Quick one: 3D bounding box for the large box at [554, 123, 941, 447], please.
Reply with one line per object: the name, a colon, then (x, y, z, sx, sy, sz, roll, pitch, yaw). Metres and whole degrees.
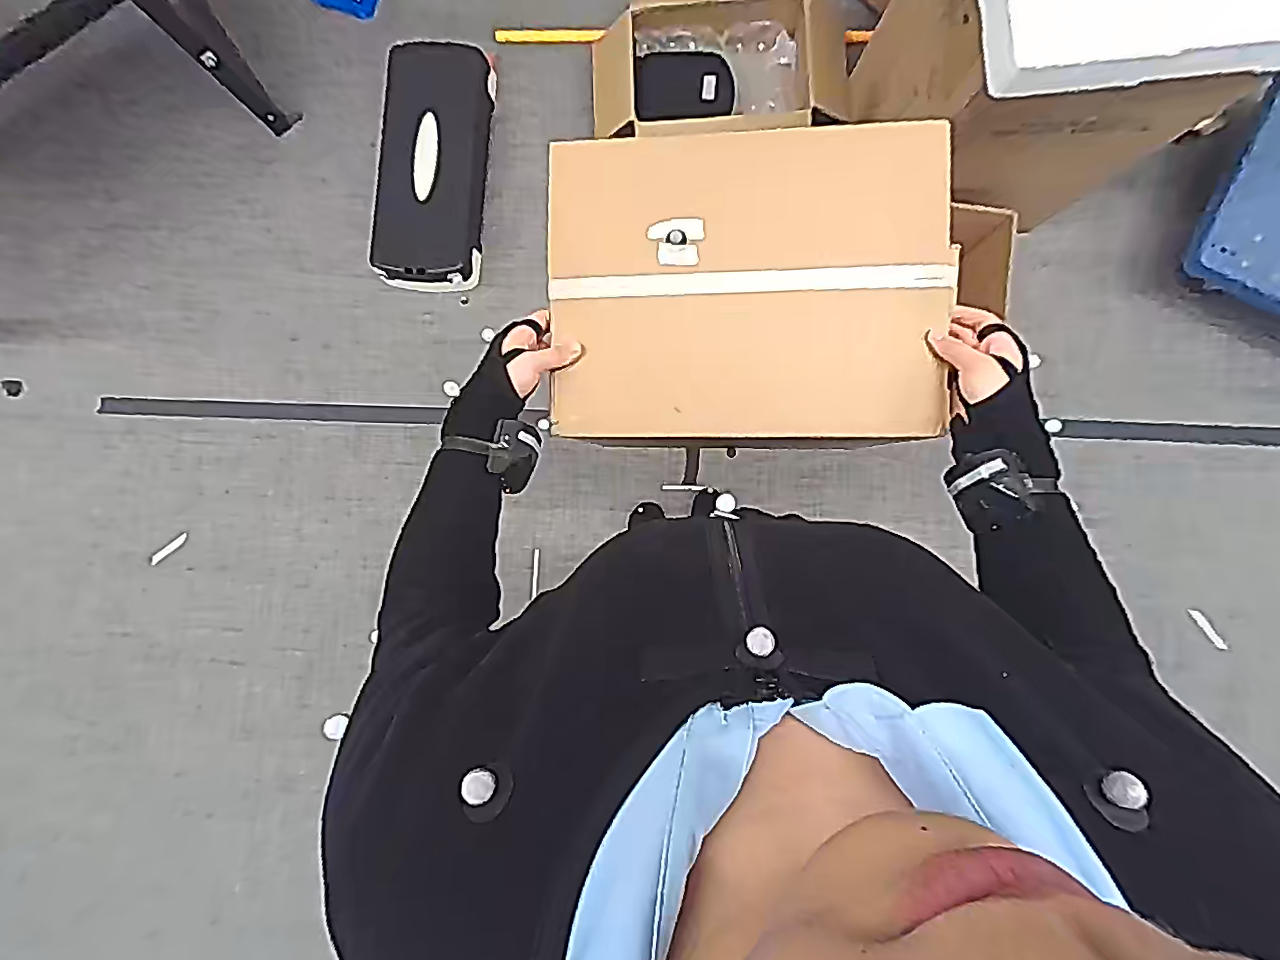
large box: (0.125, -0.205, 0.714, 0.408, 0.320, 0.320, 0, 90, 8)
